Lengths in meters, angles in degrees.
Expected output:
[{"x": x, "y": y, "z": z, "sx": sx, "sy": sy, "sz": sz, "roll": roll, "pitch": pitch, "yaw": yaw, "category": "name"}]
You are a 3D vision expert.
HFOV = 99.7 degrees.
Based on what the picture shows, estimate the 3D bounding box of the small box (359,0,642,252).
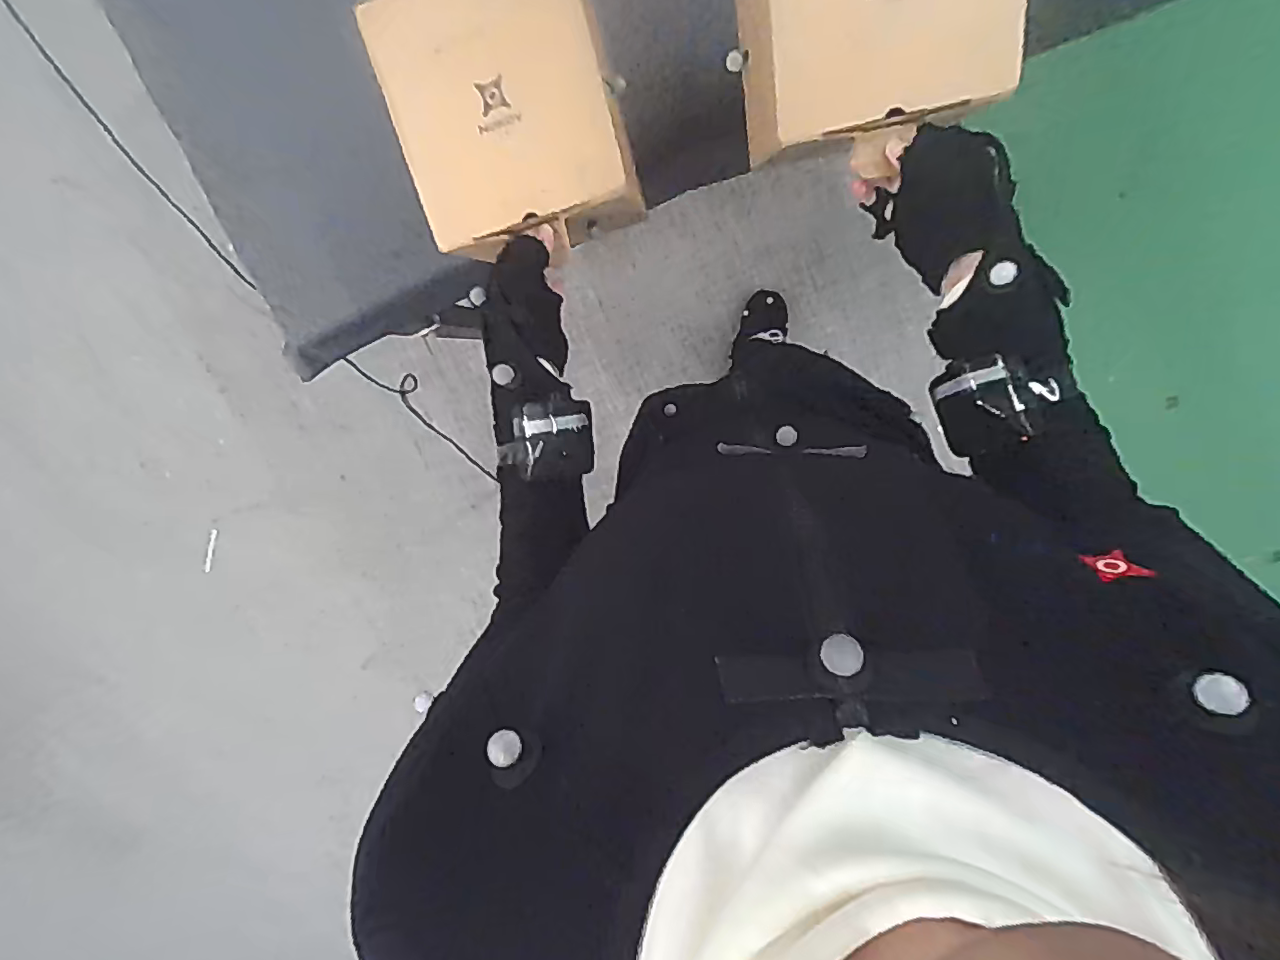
[{"x": -0.103, "y": -0.319, "z": 0.492, "sx": 0.168, "sy": 0.176, "sz": 0.179, "roll": -15, "pitch": 105, "yaw": 11, "category": "small box"}]
